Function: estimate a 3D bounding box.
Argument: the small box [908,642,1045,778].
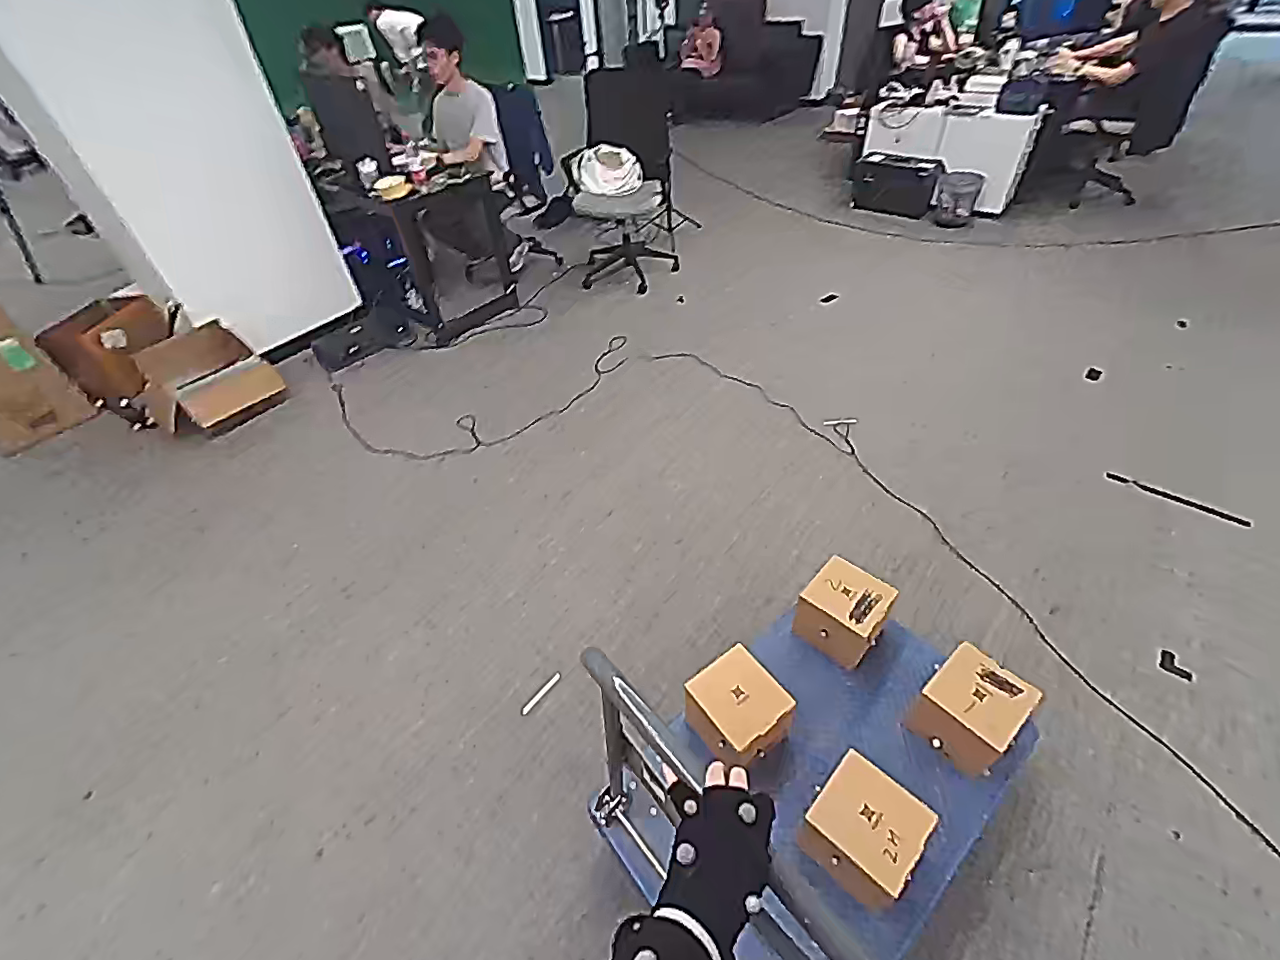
[{"bbox_3d":[0.710,0.494,1.161,0.179,0.176,0.168,-33,50,-24],"label":"small box"}]

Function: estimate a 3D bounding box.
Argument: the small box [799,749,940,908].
[{"bbox_3d":[0.421,0.659,1.021,0.168,0.176,0.179,-37,52,-27],"label":"small box"}]

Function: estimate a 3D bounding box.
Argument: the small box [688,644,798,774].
[{"bbox_3d":[0.218,0.508,1.197,0.168,0.176,0.179,-28,50,-23],"label":"small box"}]
